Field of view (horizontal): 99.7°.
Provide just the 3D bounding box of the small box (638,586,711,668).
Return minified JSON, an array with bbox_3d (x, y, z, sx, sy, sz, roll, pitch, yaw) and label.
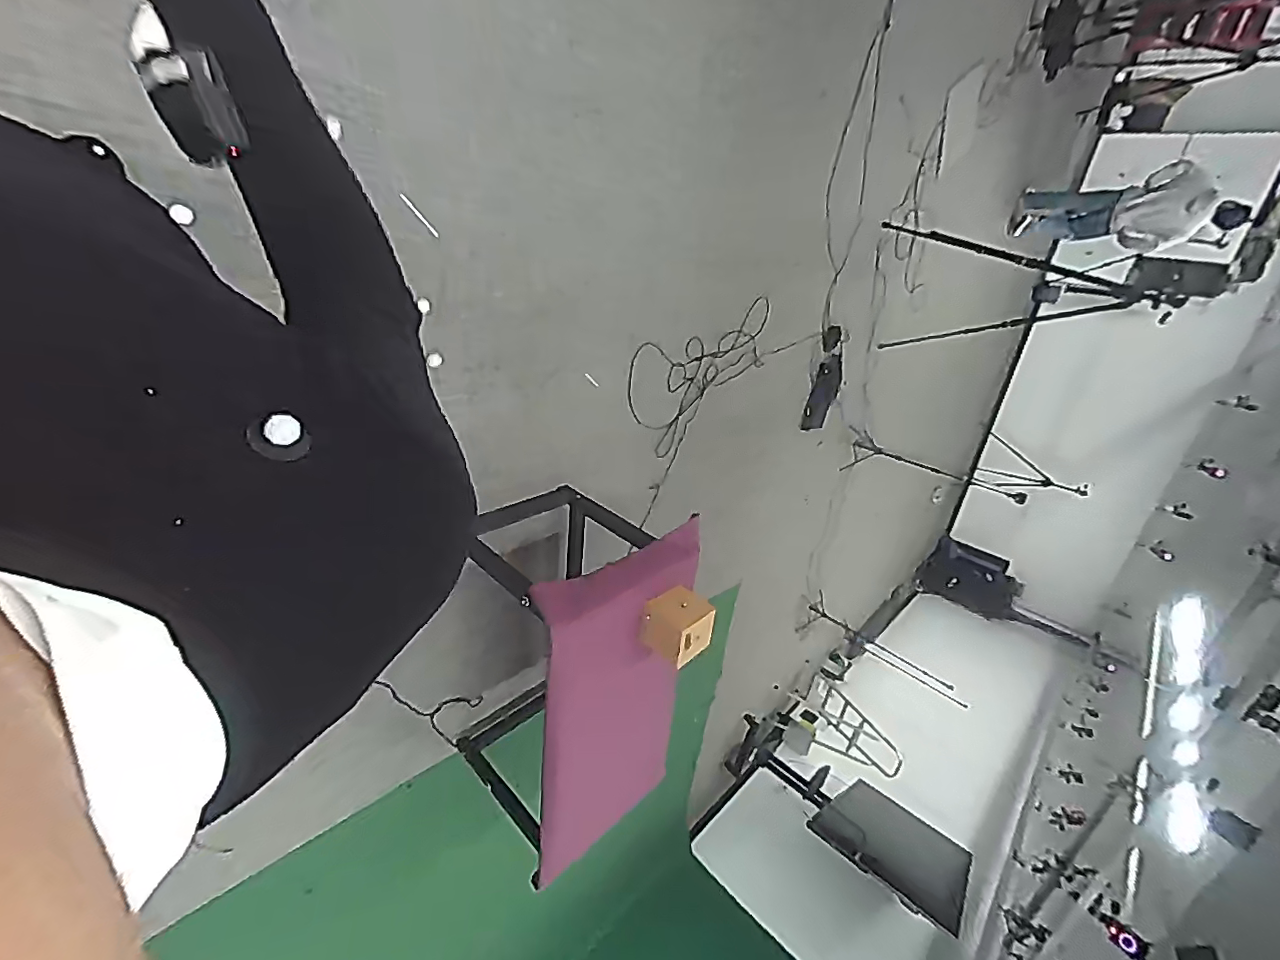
[{"bbox_3d":[0.110,0.486,1.813,0.179,0.176,0.168,-21,127,-43],"label":"small box"}]
